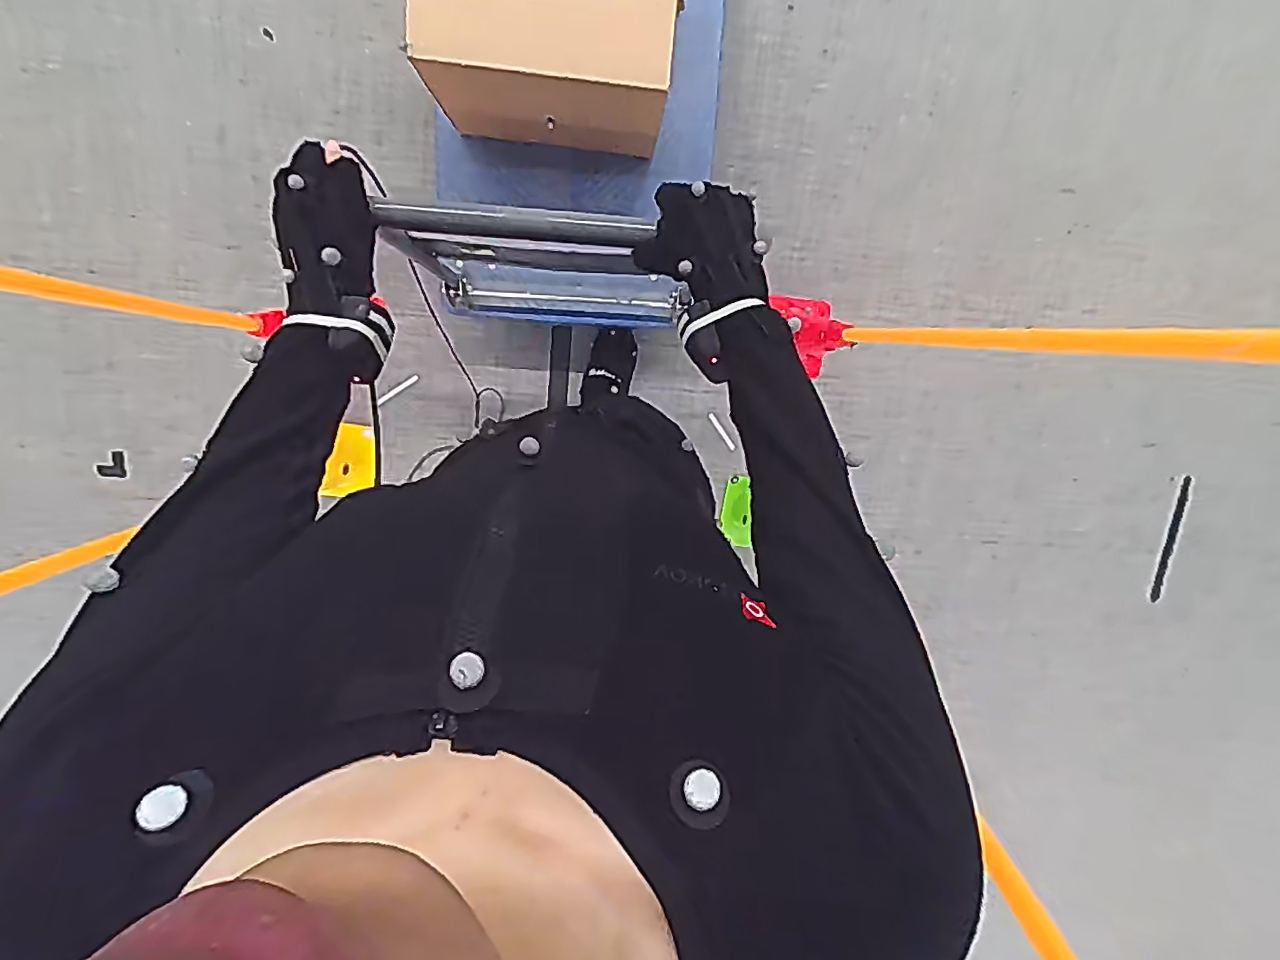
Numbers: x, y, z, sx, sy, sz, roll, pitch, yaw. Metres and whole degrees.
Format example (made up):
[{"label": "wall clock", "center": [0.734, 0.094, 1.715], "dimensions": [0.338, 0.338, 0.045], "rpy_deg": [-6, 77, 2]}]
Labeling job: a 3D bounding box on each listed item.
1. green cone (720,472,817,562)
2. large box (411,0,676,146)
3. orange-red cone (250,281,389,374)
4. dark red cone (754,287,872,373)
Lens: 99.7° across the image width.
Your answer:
[{"label": "green cone", "center": [0.346, 0.122, 1.344], "dimensions": [0.202, 0.368, 0.200], "rpy_deg": [8, 103, -6]}, {"label": "large box", "center": [-0.146, -0.819, 0.948], "dimensions": [0.408, 0.320, 0.320], "rpy_deg": [4, 103, -3]}, {"label": "orange-red cone", "center": [-0.725, -0.342, 1.181], "dimensions": [0.198, 0.360, 0.199], "rpy_deg": [11, 101, -7]}, {"label": "dark red cone", "center": [0.408, -0.343, 1.220], "dimensions": [0.201, 0.394, 0.202], "rpy_deg": [4, 103, -6]}]
